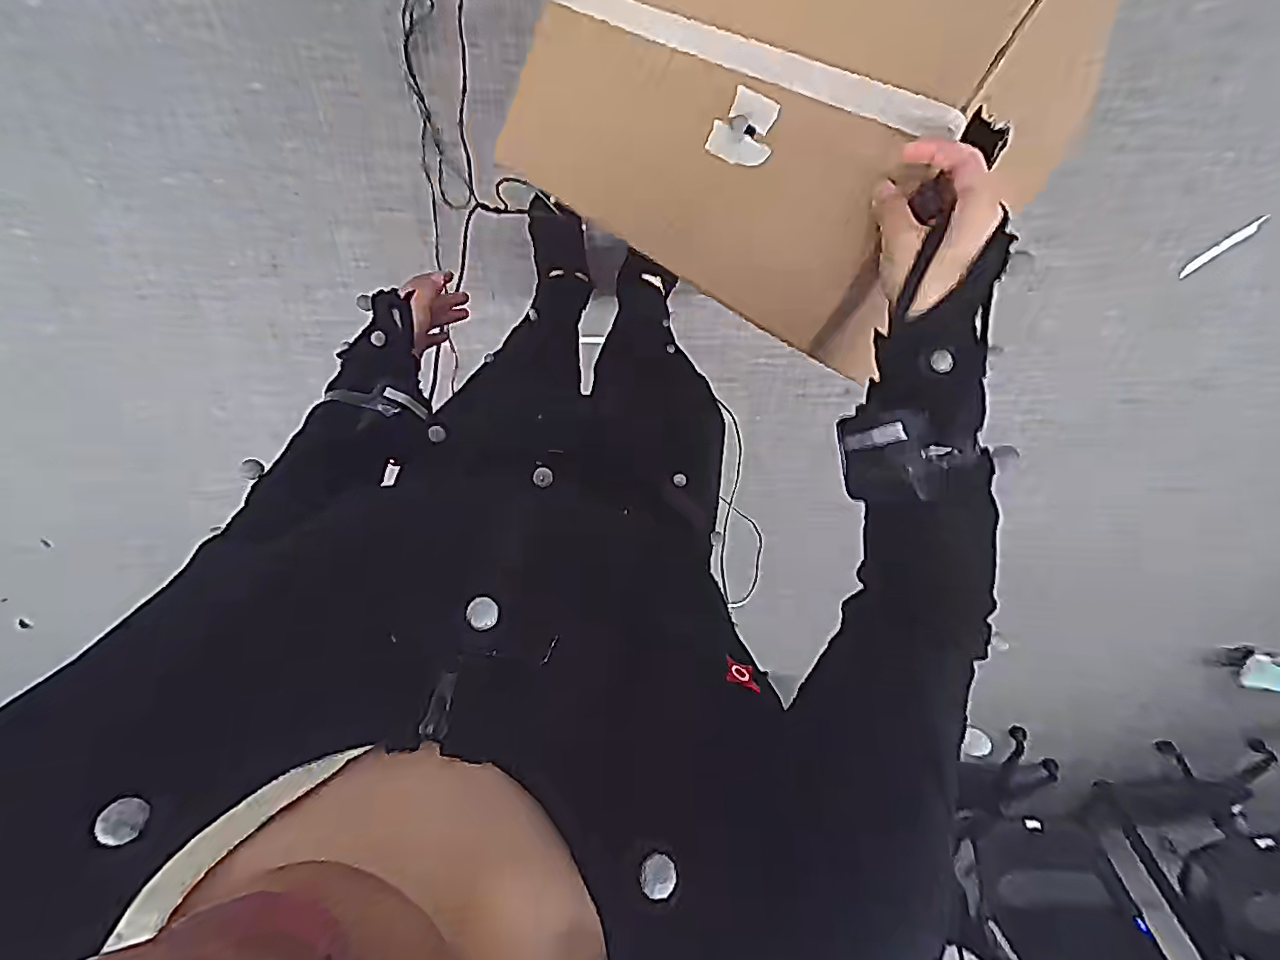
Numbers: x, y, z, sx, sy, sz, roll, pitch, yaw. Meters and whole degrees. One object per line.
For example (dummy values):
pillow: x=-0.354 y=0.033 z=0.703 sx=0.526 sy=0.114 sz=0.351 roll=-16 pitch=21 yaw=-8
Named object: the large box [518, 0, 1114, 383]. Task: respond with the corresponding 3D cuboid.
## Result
large box: x=0.158 y=-0.350 z=0.561 sx=0.320 sy=0.408 sz=0.320 roll=-3 pitch=131 yaw=-56
